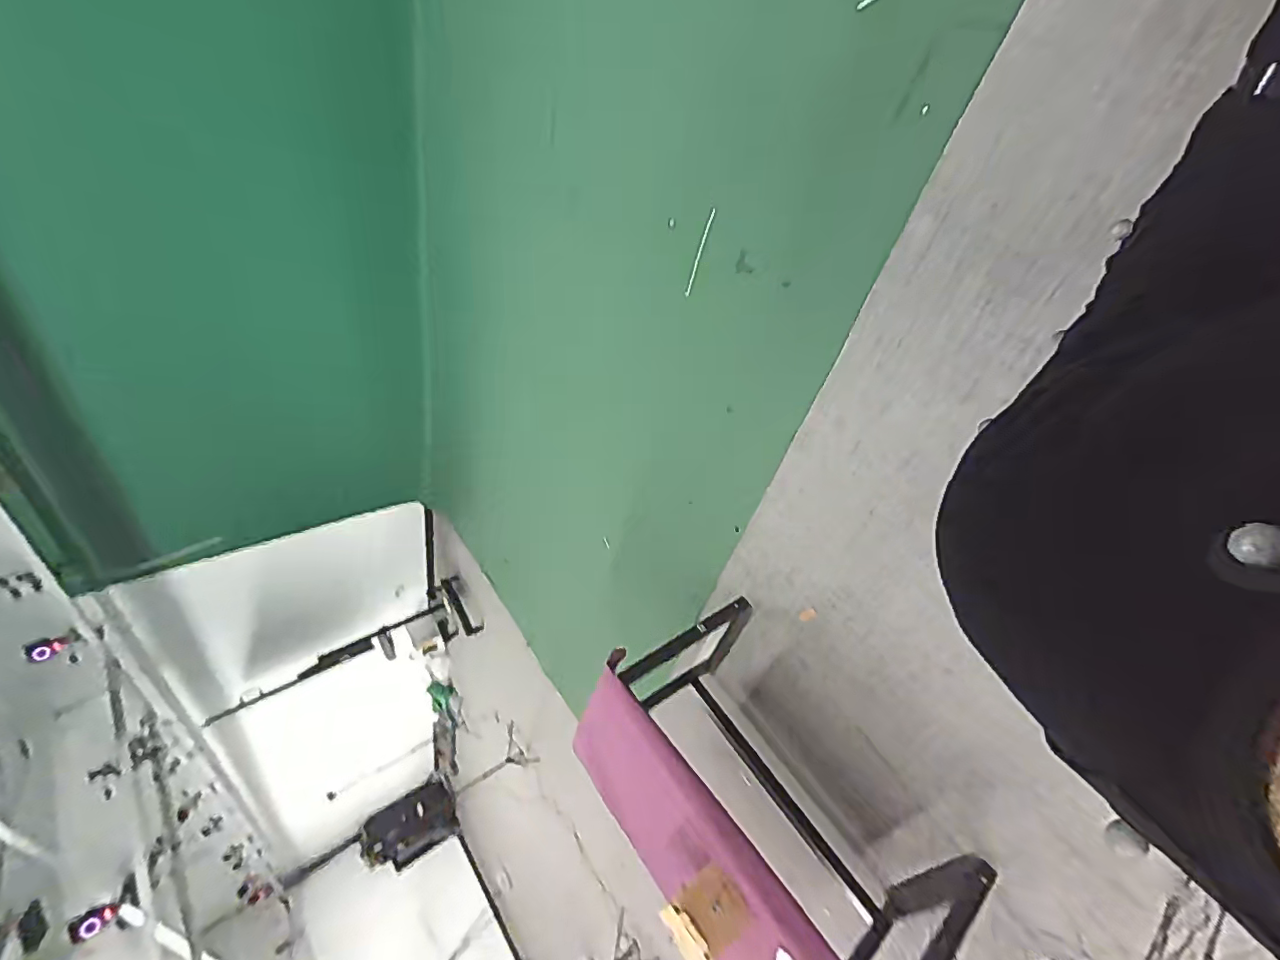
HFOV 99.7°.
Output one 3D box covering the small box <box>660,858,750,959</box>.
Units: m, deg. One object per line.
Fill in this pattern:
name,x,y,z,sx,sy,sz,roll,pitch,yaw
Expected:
small box,0.190,1.236,1.558,0.168,0.176,0.179,48,138,29
